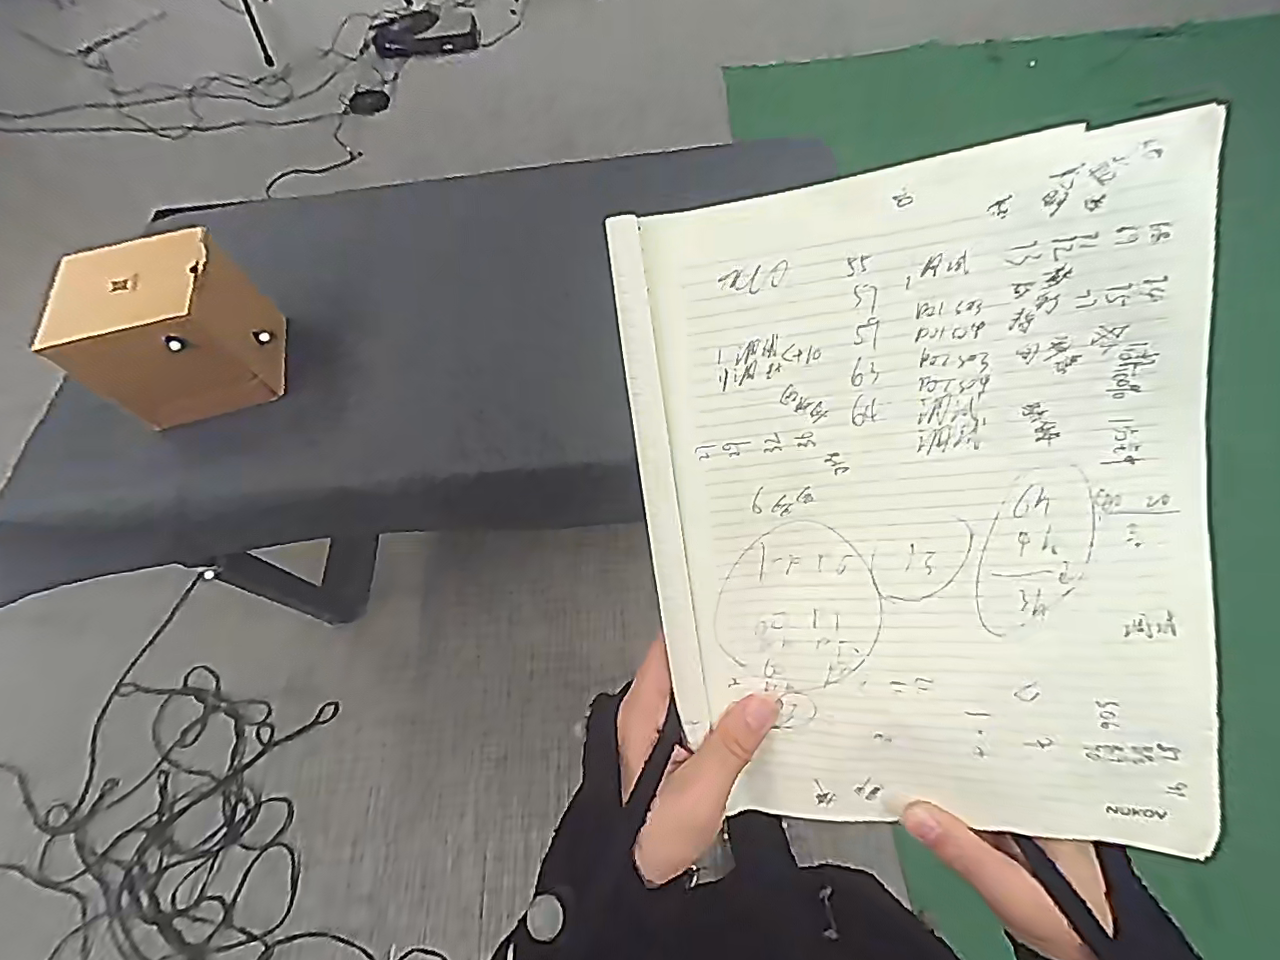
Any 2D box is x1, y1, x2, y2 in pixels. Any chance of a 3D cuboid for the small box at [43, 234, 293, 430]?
[{"bbox_3d":[-0.609,-0.190,0.726,0.179,0.176,0.168,-16,61,-5],"label":"small box"}]
